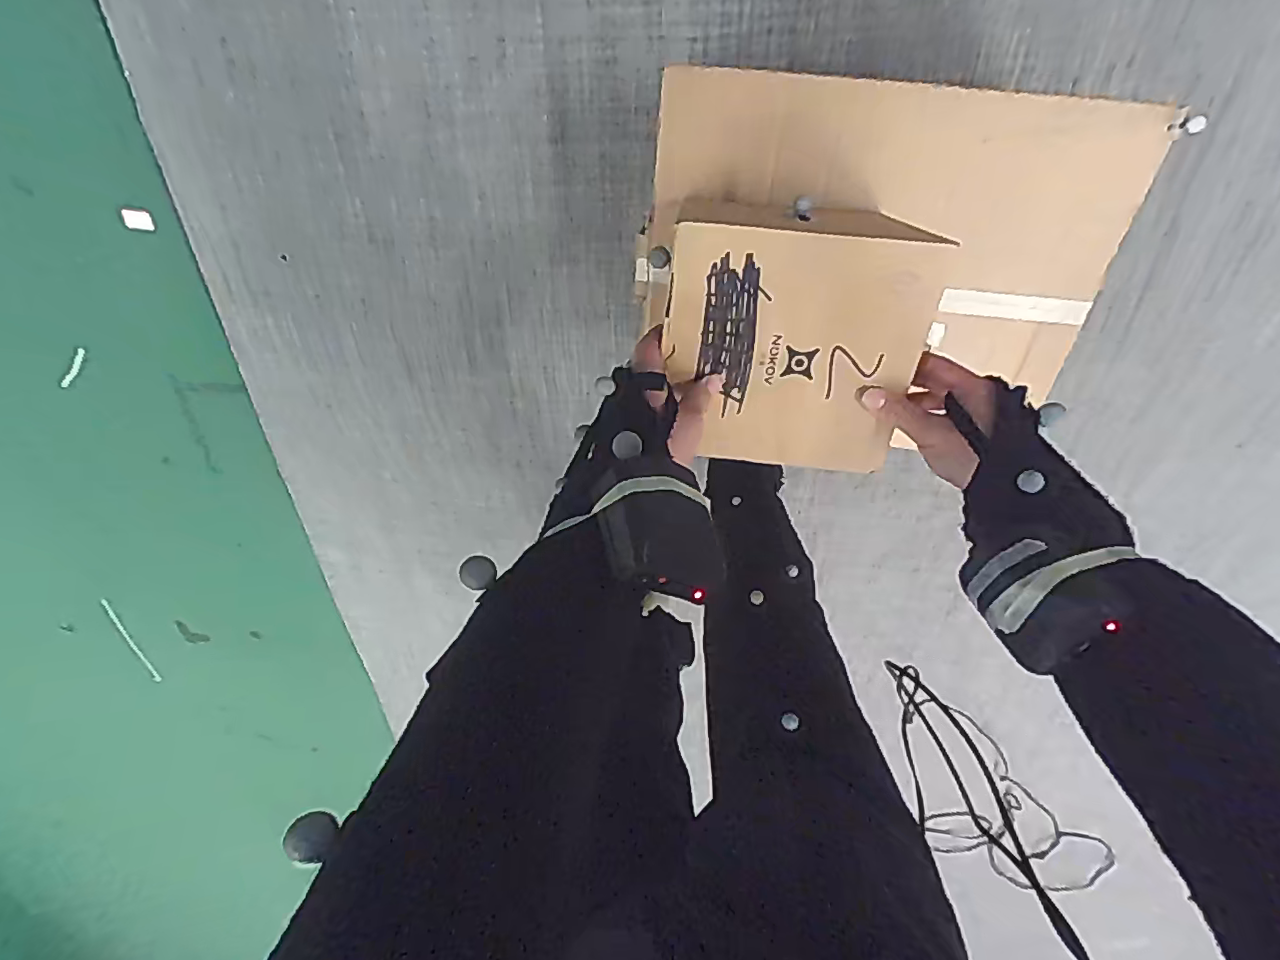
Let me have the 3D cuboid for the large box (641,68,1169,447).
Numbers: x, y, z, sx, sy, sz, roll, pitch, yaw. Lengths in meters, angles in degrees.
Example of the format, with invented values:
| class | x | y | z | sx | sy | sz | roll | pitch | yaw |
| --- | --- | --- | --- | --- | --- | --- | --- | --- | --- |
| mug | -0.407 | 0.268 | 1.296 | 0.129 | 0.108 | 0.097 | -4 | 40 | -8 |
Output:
| class | x | y | z | sx | sy | sz | roll | pitch | yaw |
| --- | --- | --- | --- | --- | --- | --- | --- | --- | --- |
| large box | 0.217 | -0.259 | 0.631 | 0.408 | 0.320 | 0.320 | 6 | 123 | 2 |
